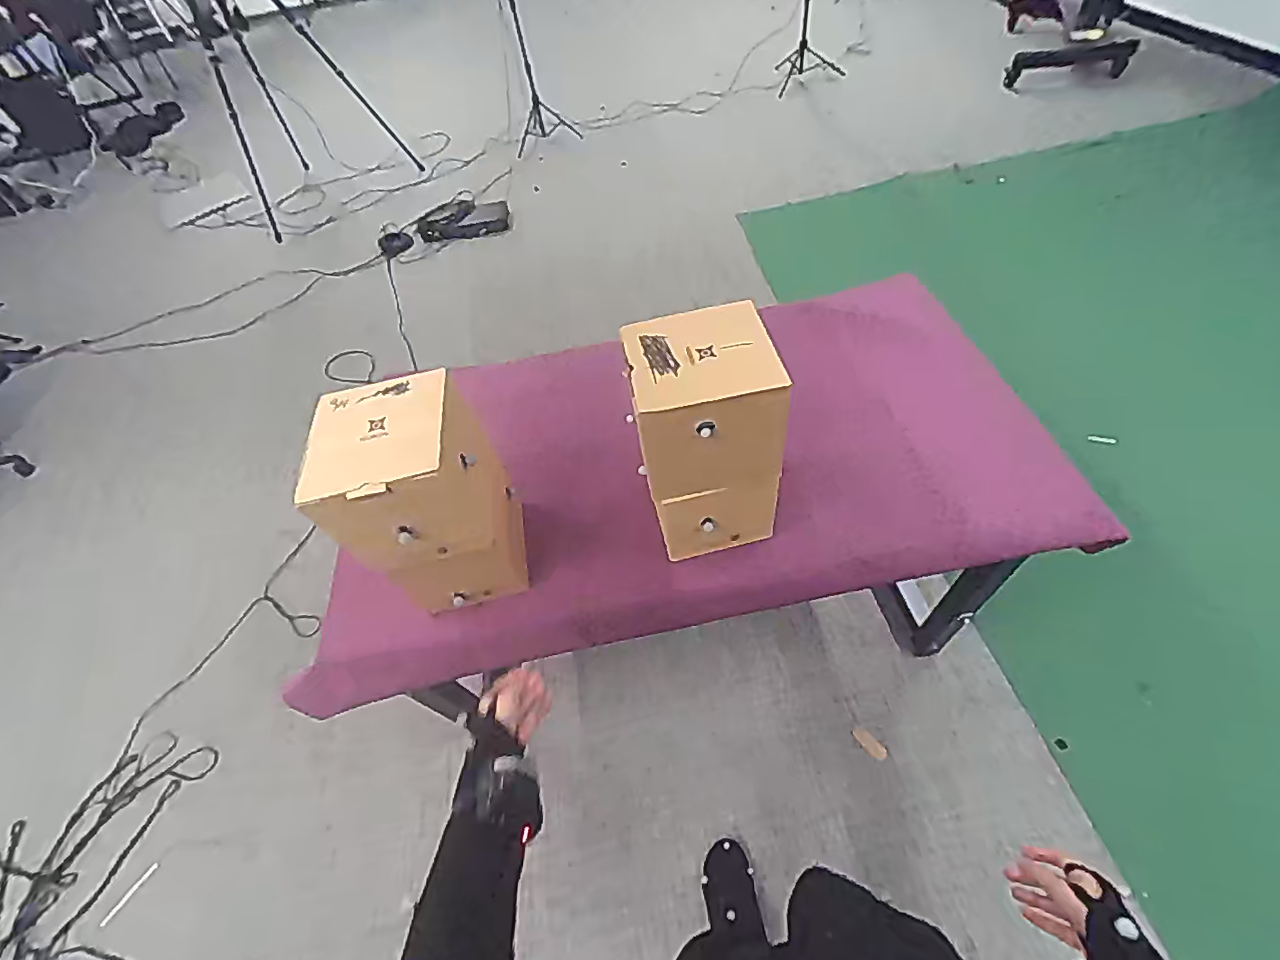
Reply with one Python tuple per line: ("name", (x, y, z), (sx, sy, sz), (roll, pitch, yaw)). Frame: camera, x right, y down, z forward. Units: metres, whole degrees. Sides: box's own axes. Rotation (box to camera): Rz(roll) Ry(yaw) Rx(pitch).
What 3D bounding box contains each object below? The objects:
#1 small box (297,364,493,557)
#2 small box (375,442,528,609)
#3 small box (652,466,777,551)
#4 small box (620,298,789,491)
("small box", (-0.296, -0.015, 0.696), (0.168, 0.176, 0.179), (-12, 54, 0))
("small box", (-0.279, 0.073, 0.833), (0.168, 0.176, 0.179), (-14, 54, -1))
("small box", (0.102, -0.008, 0.834), (0.168, 0.176, 0.179), (-14, 51, -1))
("small box", (0.081, -0.105, 0.703), (0.179, 0.176, 0.168), (-11, 52, 1))
